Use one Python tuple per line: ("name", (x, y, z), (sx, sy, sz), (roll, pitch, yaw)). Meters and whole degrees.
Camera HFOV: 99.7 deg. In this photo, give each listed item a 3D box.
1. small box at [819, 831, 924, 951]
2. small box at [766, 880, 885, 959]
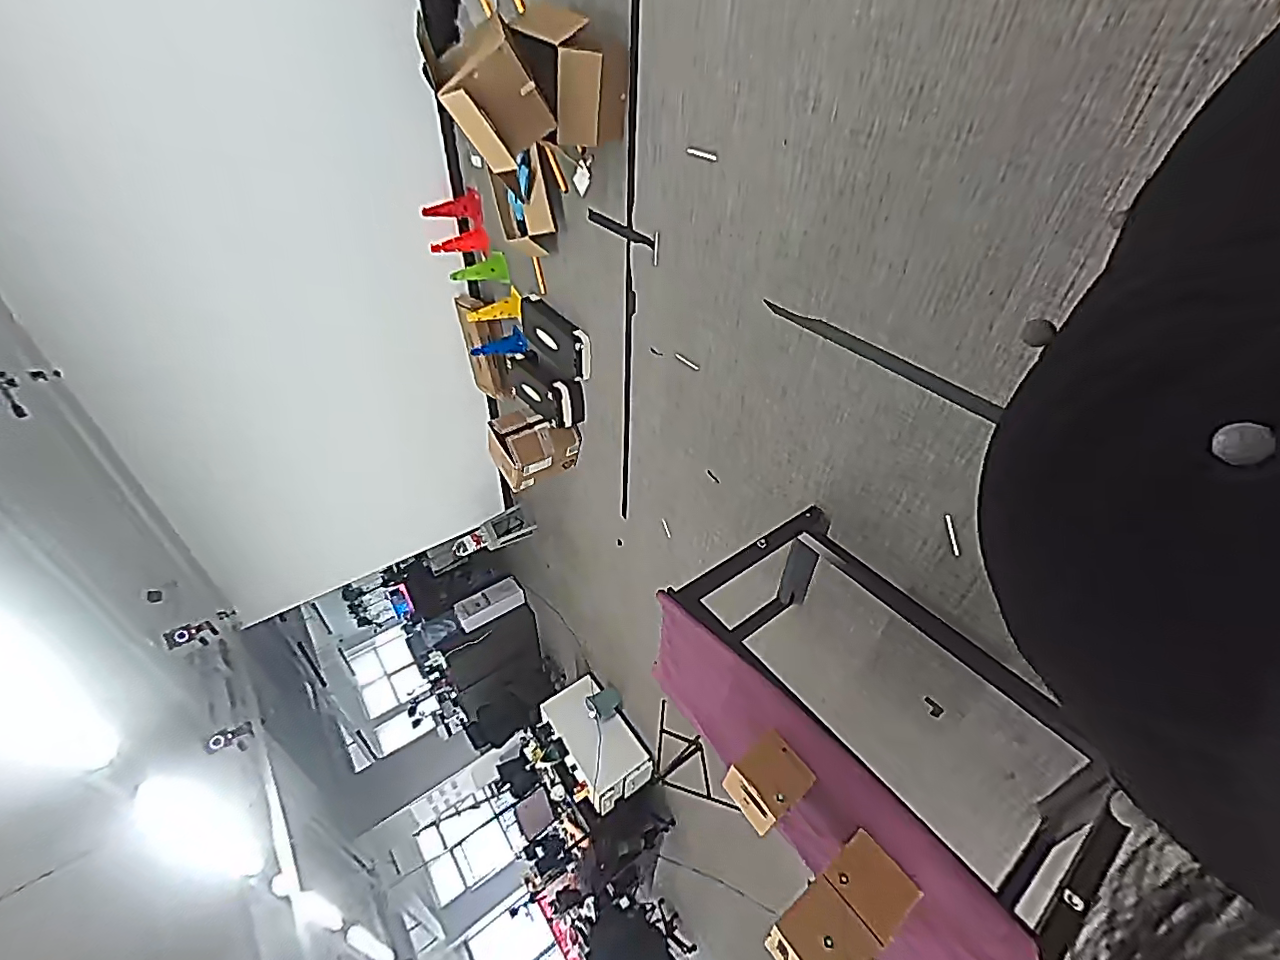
("small box", (0.556, 1.016, 1.326), (0.179, 0.176, 0.168), (40, 143, 39))
("small box", (0.423, 1.072, 1.247), (0.179, 0.176, 0.168), (40, 143, 39))
